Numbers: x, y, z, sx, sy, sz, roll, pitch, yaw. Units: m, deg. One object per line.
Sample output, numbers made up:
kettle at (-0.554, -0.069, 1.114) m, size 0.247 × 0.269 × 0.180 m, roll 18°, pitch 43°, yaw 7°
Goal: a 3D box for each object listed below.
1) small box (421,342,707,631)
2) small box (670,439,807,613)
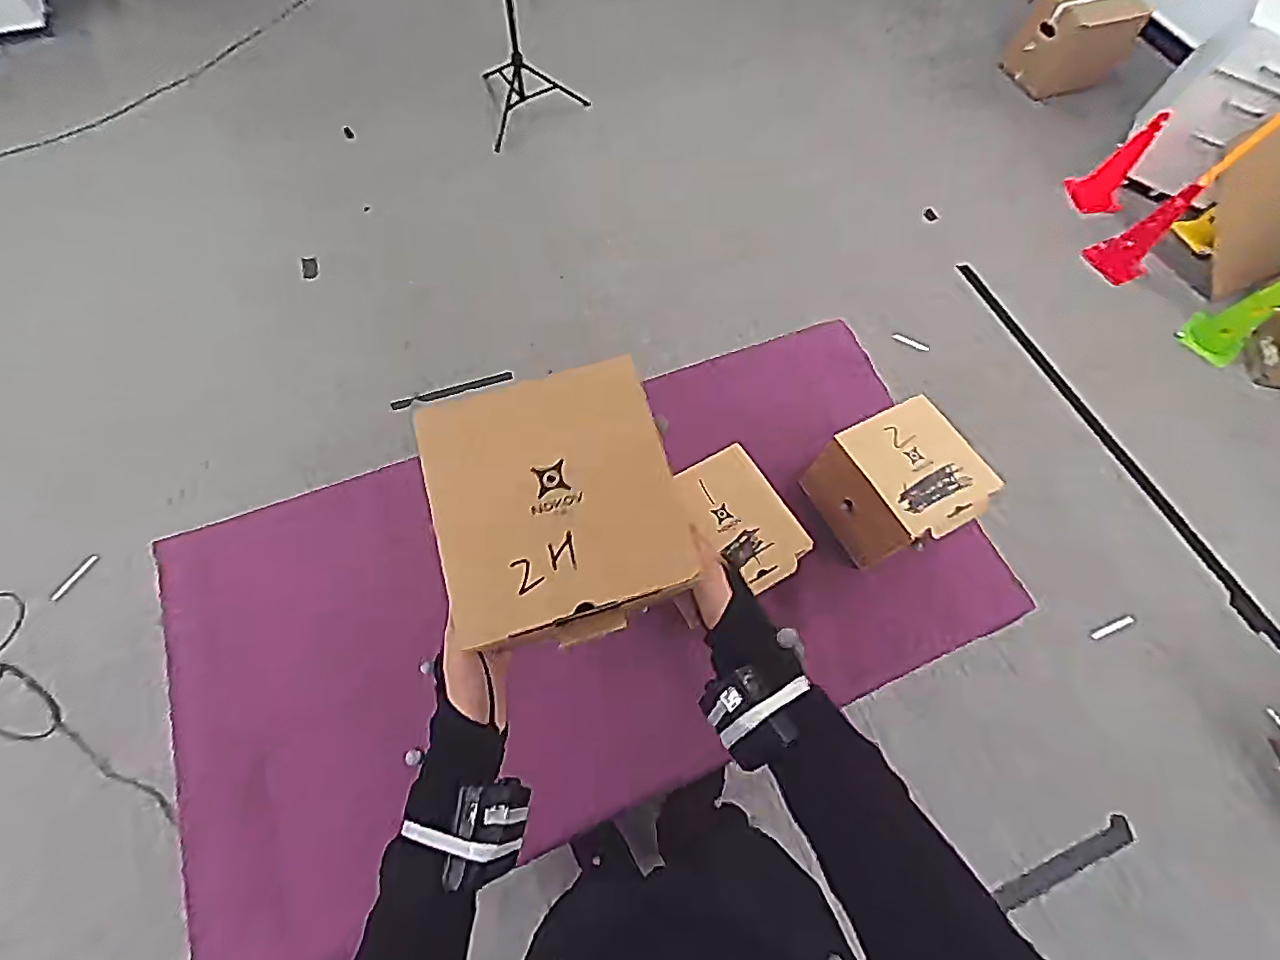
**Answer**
small box at (-0.058, 0.019, 0.446) m, size 0.168 × 0.176 × 0.179 m, roll -15°, pitch 76°, yaw -5°
small box at (0.105, 0.077, 0.783) m, size 0.168 × 0.176 × 0.179 m, roll -27°, pitch 70°, yaw -14°
